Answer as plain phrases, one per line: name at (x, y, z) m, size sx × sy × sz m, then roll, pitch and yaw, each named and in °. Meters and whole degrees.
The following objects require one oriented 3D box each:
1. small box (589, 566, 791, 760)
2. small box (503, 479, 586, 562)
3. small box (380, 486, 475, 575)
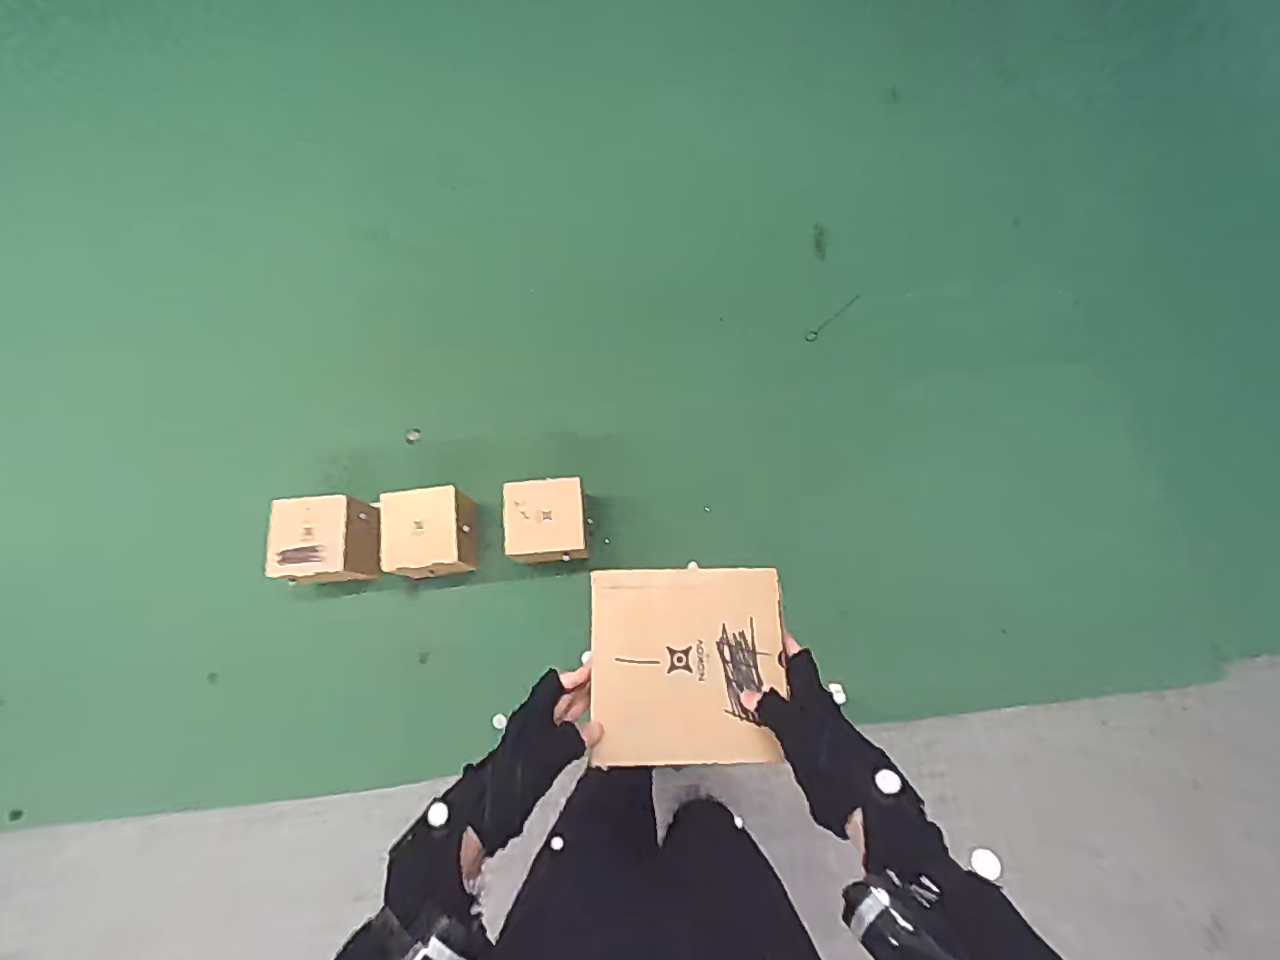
small box at (0.042, 0.186, 0.560) m, size 0.179 × 0.176 × 0.168 m, roll 0°, pitch 70°, yaw 0°
small box at (-0.219, 0.100, 1.278) m, size 0.179 × 0.176 × 0.168 m, roll -4°, pitch 75°, yaw -2°
small box at (-0.493, 0.123, 1.272) m, size 0.168 × 0.176 × 0.179 m, roll -7°, pitch 76°, yaw -2°
